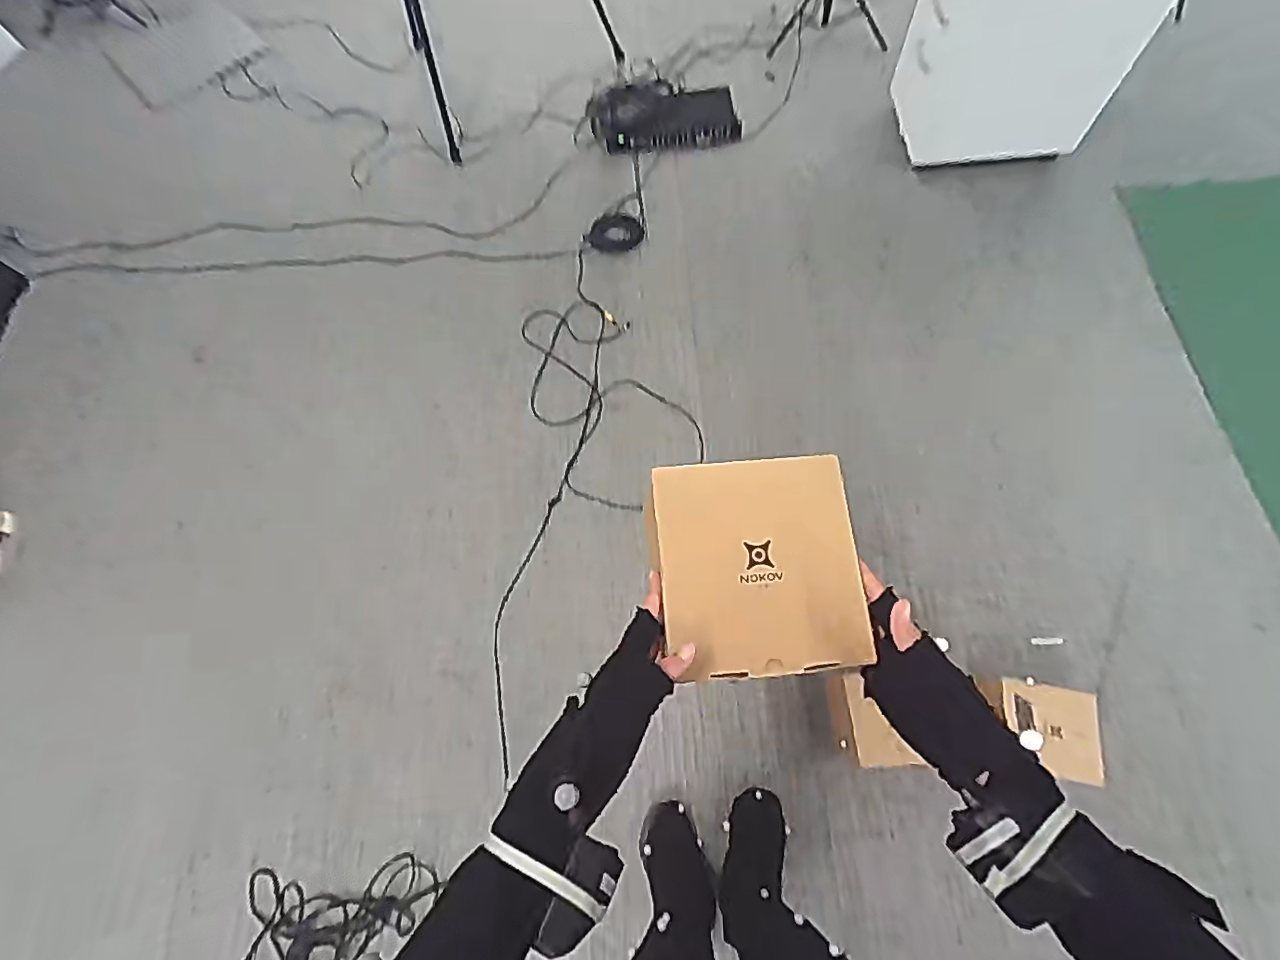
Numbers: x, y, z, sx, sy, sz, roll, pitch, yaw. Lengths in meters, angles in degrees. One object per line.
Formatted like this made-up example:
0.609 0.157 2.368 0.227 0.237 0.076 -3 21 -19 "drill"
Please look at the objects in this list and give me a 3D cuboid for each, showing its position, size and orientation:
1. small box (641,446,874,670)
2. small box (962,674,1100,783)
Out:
0.091 0.080 0.516 0.168 0.176 0.179 -5 74 -3 "small box"
0.794 0.510 1.121 0.179 0.176 0.168 9 69 7 "small box"
